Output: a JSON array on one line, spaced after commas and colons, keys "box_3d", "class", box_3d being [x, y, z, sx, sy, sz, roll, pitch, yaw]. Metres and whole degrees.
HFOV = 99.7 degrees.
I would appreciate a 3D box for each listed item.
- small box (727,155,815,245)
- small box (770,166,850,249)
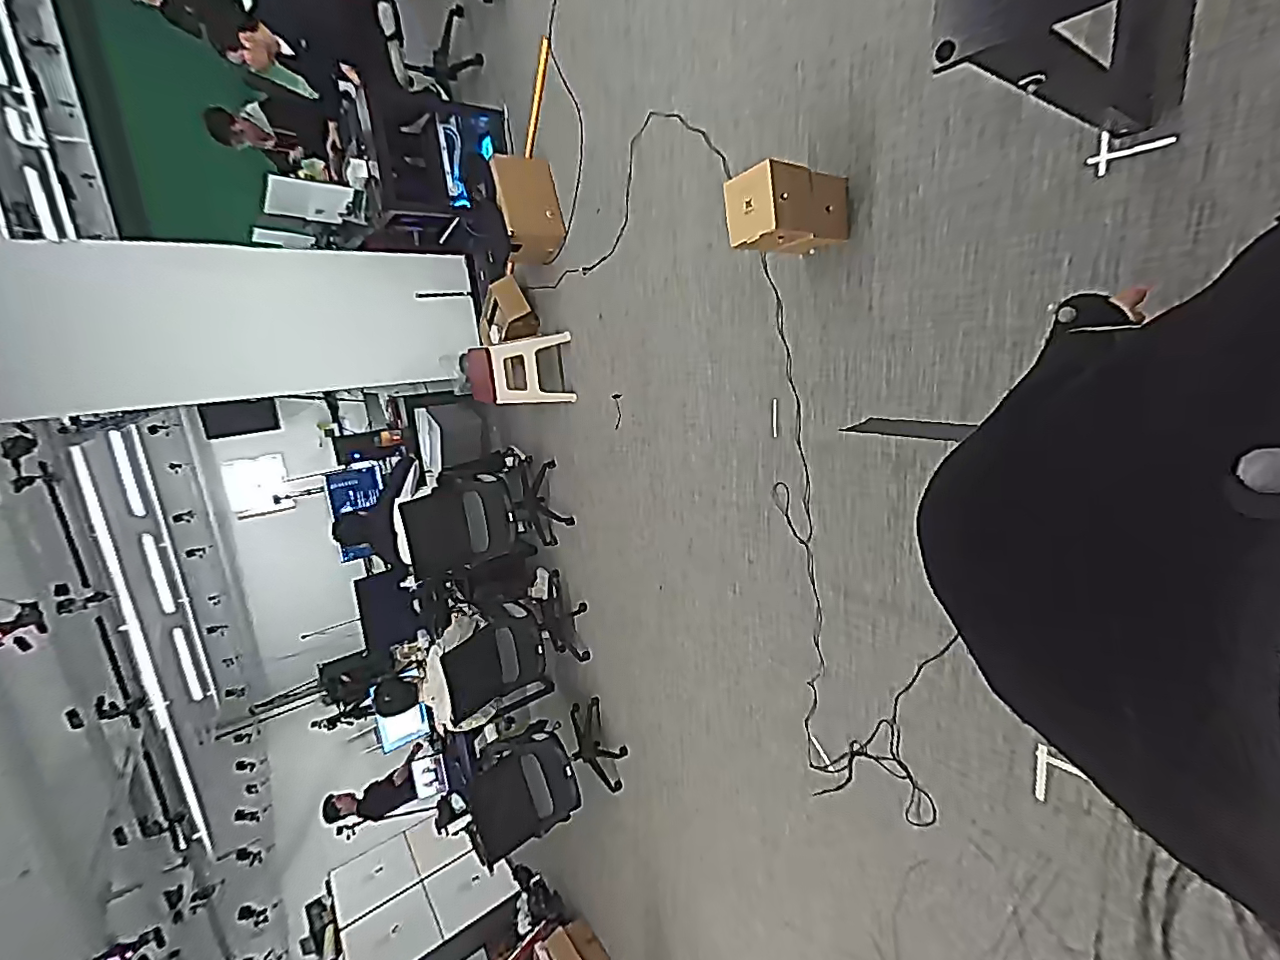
[{"box_3d": [0.364, -0.761, 1.491, 0.168, 0.176, 0.179, 4, 104, 53], "class": "small box"}, {"box_3d": [0.495, -0.787, 1.583, 0.168, 0.176, 0.179, 9, 110, 53], "class": "small box"}]
